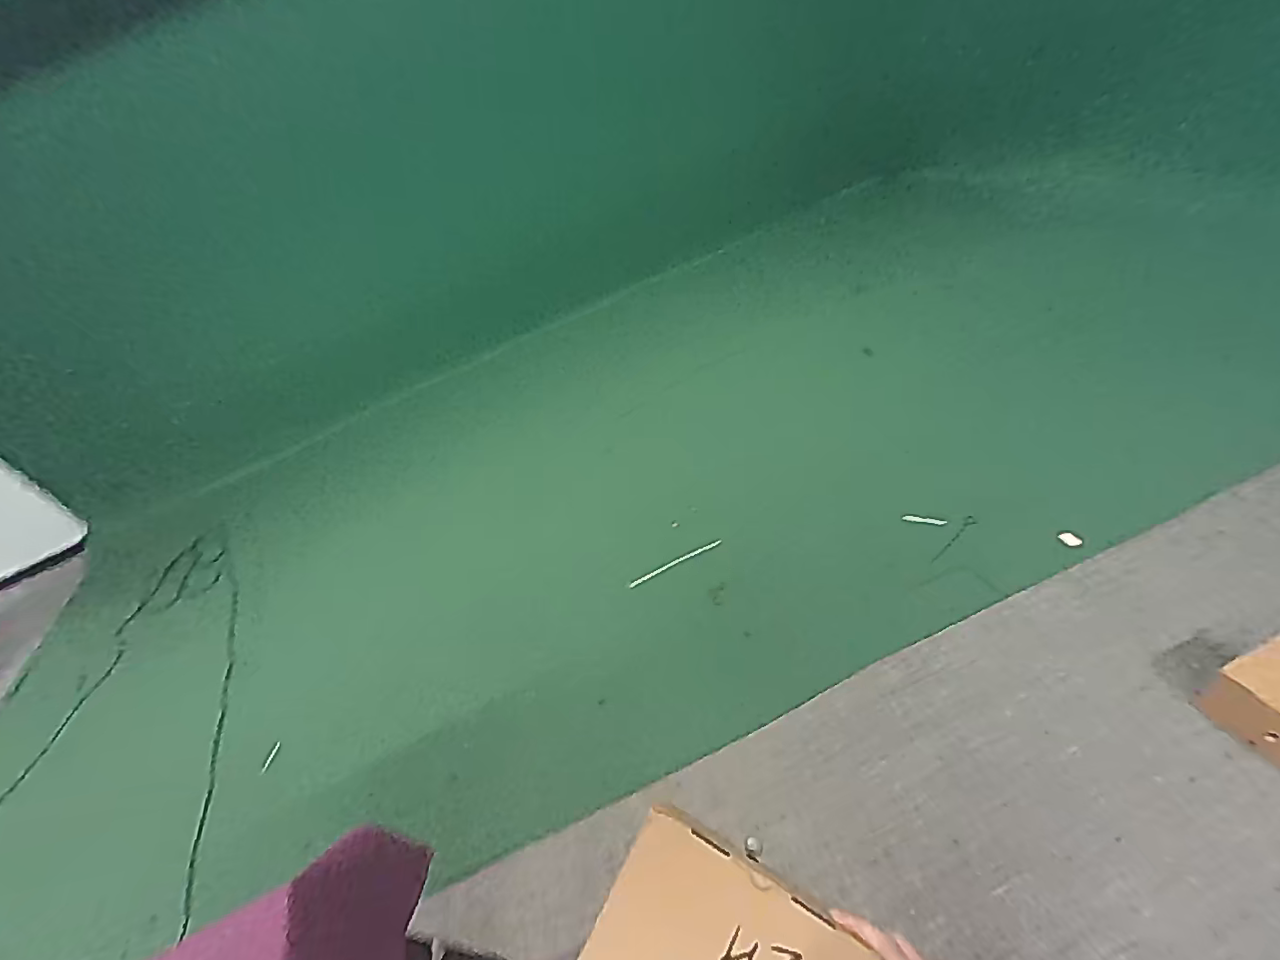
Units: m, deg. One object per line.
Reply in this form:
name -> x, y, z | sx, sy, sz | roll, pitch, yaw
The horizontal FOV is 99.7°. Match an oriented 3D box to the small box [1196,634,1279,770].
small box -> 1.301, 0.453, 1.101 | 0.179, 0.176, 0.168 | -27, 41, -4
